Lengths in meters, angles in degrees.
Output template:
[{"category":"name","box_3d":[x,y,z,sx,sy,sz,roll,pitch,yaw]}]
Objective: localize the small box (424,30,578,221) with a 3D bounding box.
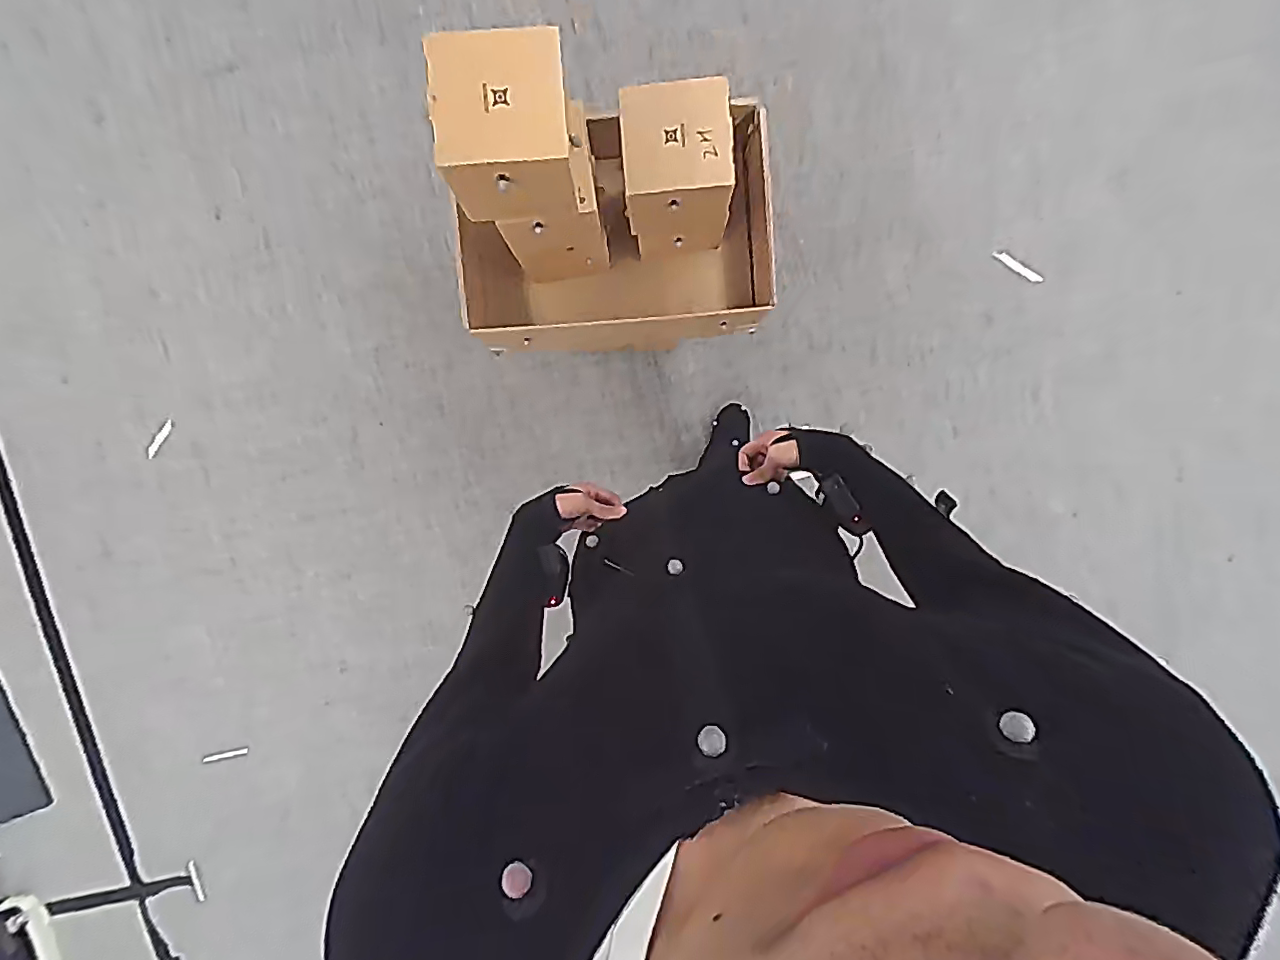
[{"category":"small box","box_3d":[-0.184,-0.488,0.768,0.179,0.176,0.168,-5,93,0]}]
